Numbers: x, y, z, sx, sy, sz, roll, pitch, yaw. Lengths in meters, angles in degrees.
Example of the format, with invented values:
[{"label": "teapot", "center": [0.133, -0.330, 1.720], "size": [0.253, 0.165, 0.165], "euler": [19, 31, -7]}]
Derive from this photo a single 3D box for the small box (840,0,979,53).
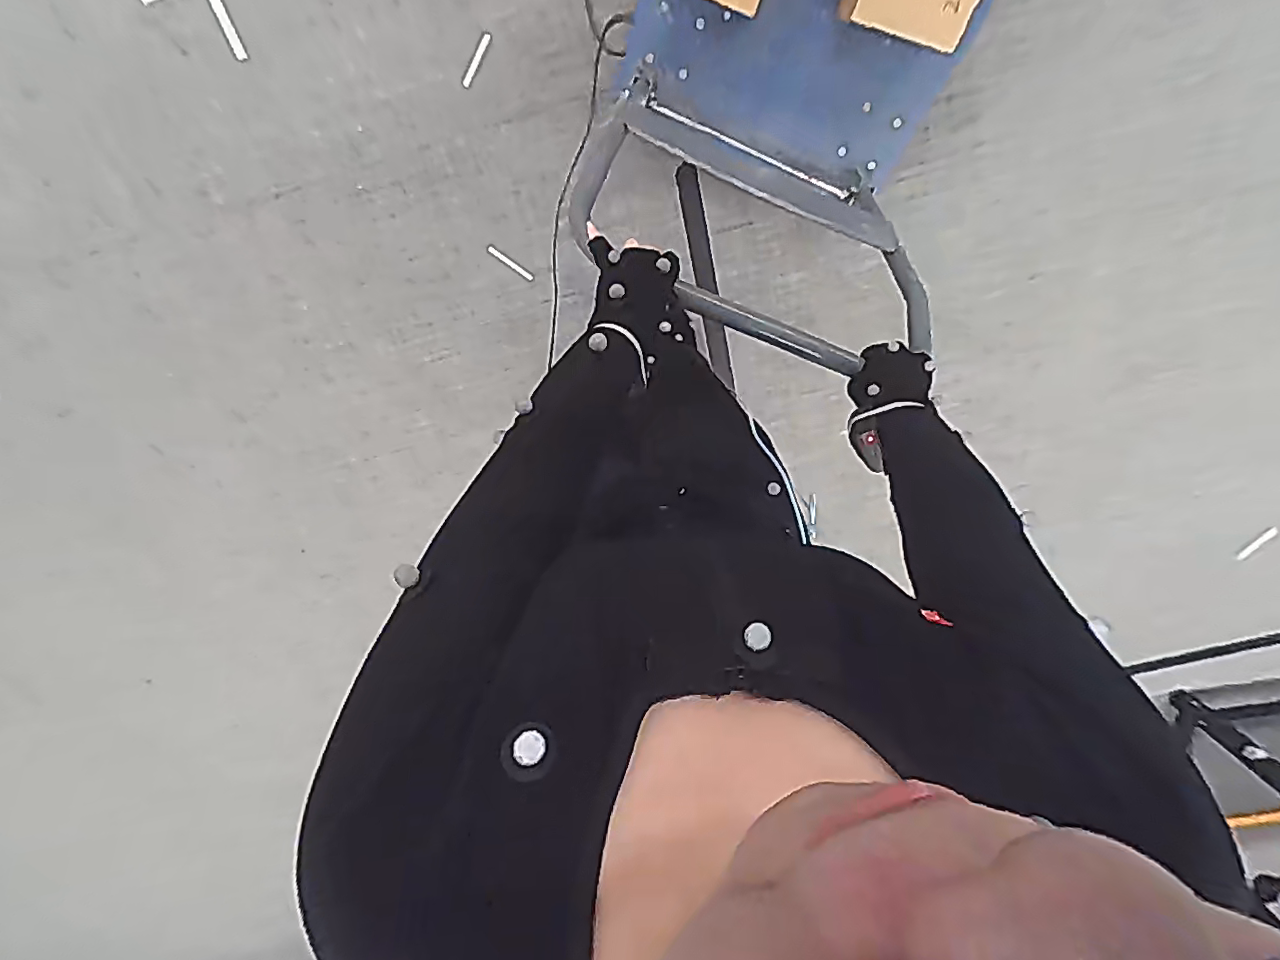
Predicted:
[{"label": "small box", "center": [0.437, -0.801, 0.847], "size": [0.179, 0.176, 0.168], "euler": [15, 132, -5]}]
